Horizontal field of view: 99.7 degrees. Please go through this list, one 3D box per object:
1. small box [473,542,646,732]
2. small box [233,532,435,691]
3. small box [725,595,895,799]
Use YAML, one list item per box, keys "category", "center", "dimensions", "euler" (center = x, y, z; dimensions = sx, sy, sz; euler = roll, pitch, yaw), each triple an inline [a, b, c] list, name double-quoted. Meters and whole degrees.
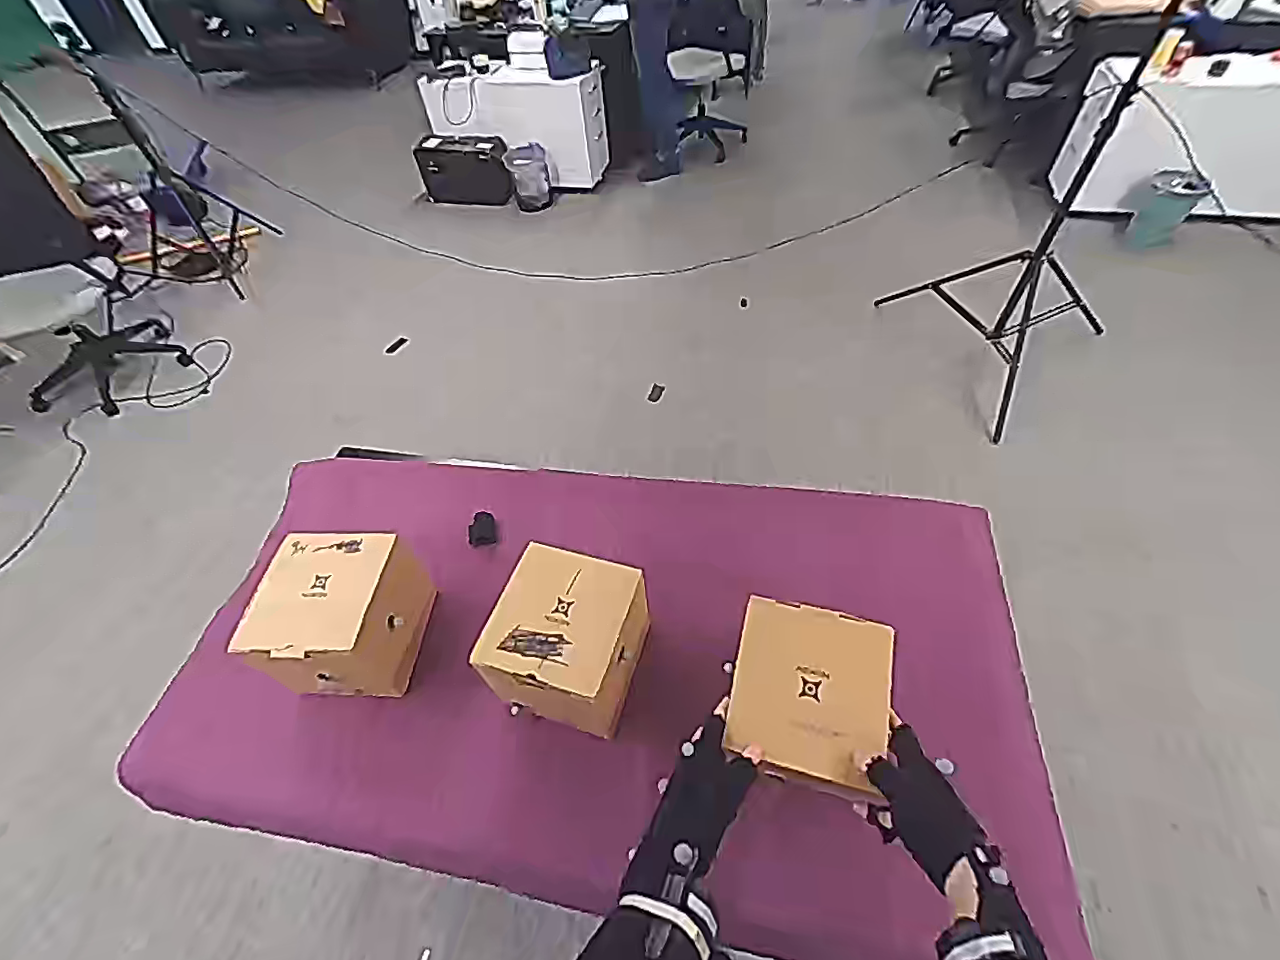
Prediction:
- category: "small box"
  center: [-0.093, 0.216, 0.735]
  dimensions: [0.168, 0.176, 0.179]
  euler: [12, 52, 14]
- category: "small box"
  center: [-0.419, 0.193, 0.780]
  dimensions: [0.168, 0.176, 0.179]
  euler: [0, 51, 4]
- category: "small box"
  center: [0.199, 0.266, 0.659]
  dimensions: [0.168, 0.176, 0.179]
  euler: [10, 60, 15]
